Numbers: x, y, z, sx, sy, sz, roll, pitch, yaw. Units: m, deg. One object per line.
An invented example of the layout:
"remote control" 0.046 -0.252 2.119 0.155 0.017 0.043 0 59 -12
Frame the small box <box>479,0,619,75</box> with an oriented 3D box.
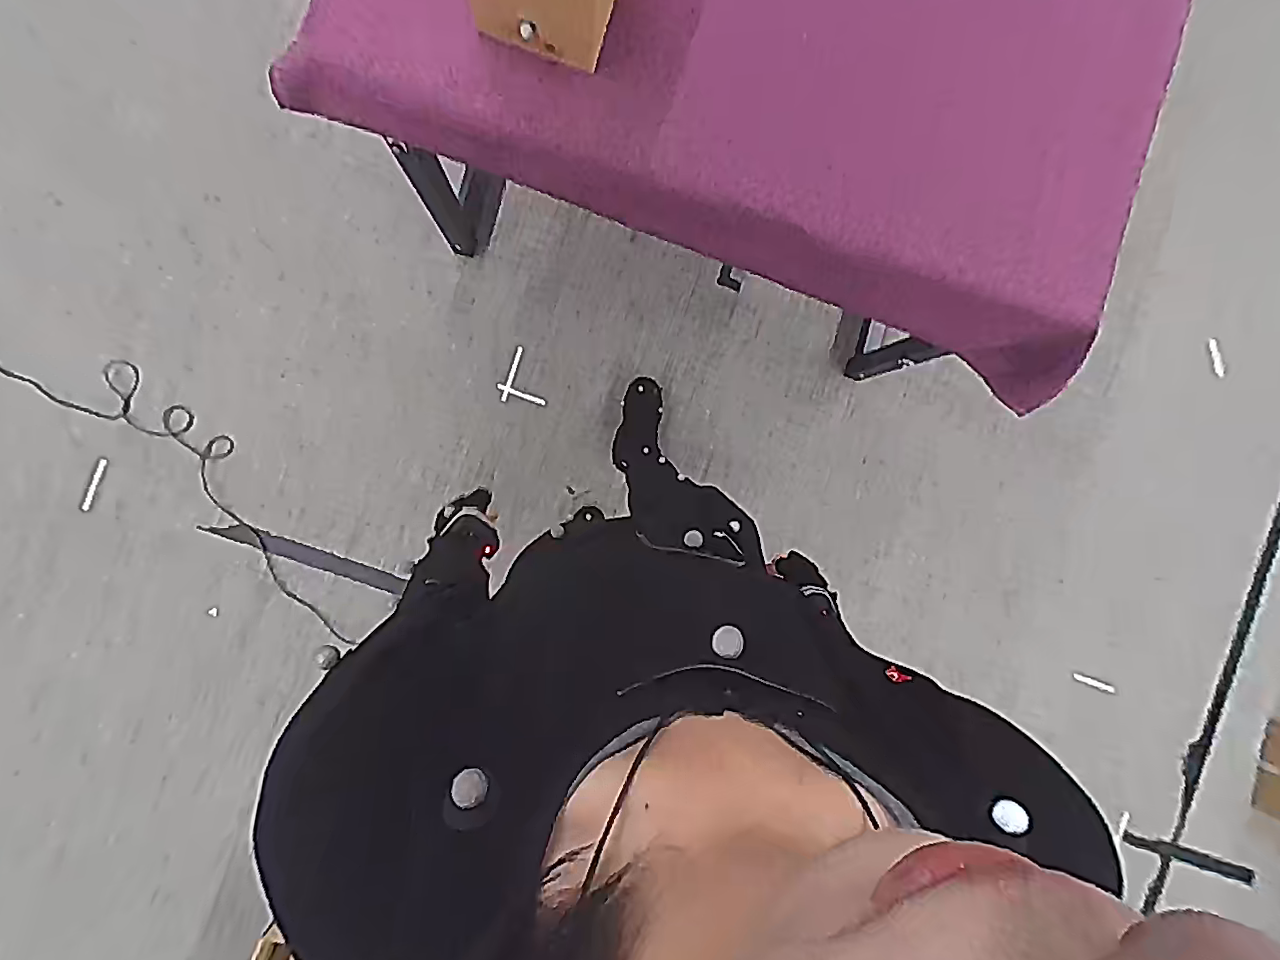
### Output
"small box" -0.107 -0.663 0.666 0.168 0.176 0.179 16 91 -6
